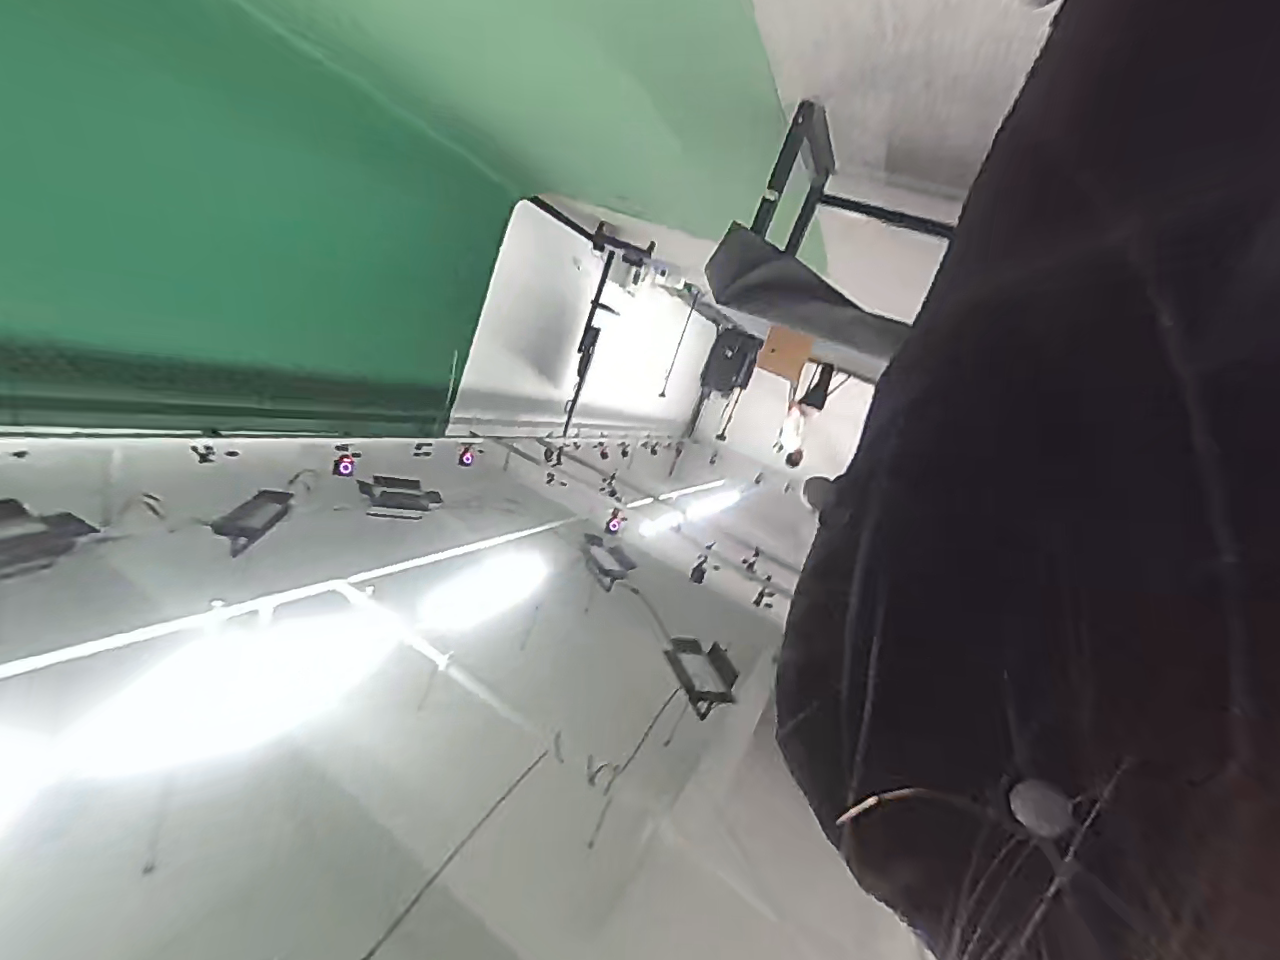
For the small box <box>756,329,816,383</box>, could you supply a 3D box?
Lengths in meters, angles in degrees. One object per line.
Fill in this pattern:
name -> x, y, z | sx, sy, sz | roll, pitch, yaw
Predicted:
small box -> 0.577, -0.497, 2.156 | 0.179, 0.176, 0.168 | 22, -166, 6
